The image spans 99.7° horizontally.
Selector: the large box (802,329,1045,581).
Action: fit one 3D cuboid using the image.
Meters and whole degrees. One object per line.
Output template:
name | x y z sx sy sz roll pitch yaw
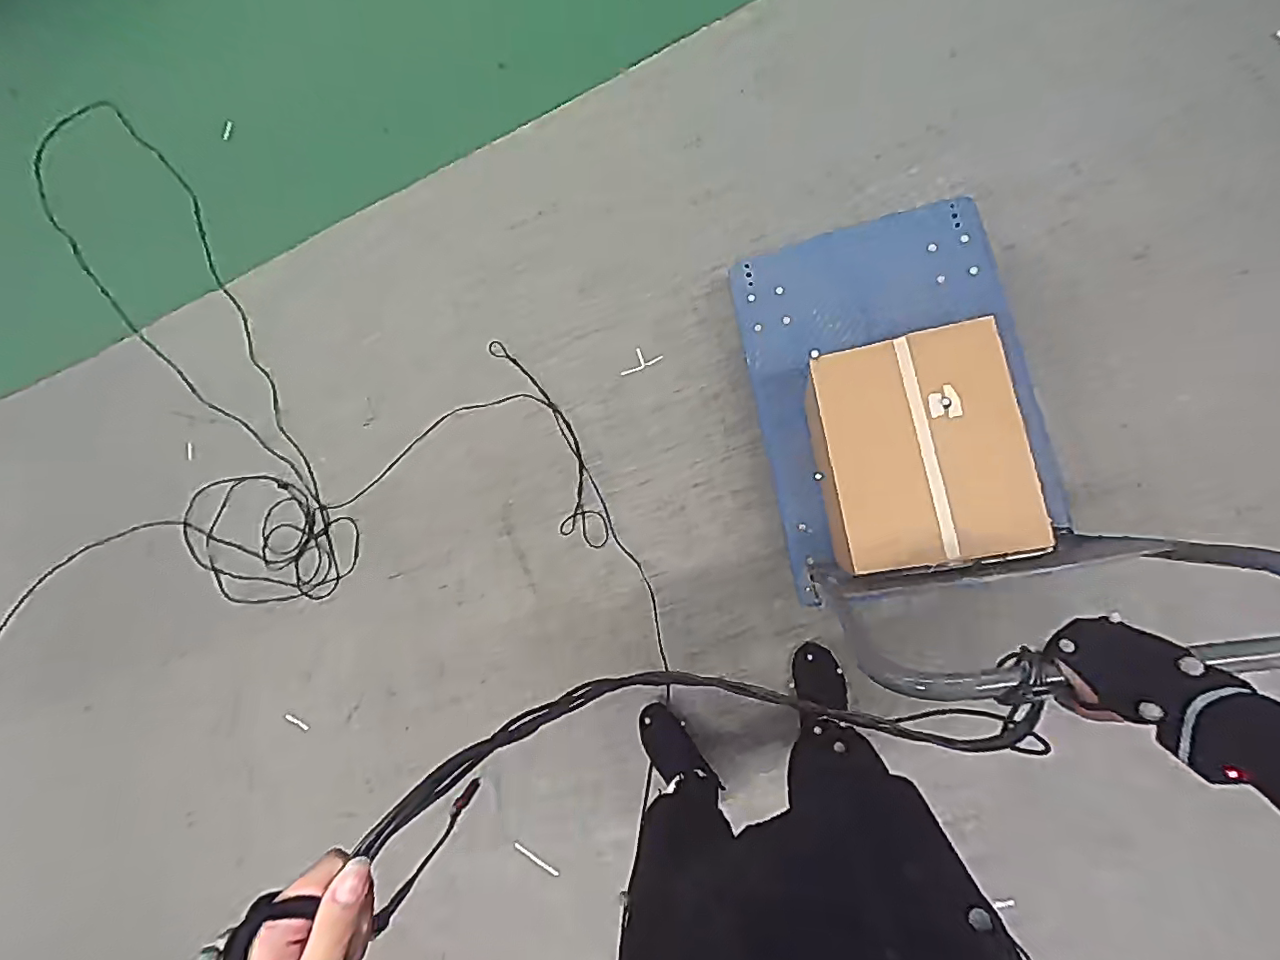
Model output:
large box | 0.523 -0.025 1.088 0.320 0.320 0.408 -11 80 12
